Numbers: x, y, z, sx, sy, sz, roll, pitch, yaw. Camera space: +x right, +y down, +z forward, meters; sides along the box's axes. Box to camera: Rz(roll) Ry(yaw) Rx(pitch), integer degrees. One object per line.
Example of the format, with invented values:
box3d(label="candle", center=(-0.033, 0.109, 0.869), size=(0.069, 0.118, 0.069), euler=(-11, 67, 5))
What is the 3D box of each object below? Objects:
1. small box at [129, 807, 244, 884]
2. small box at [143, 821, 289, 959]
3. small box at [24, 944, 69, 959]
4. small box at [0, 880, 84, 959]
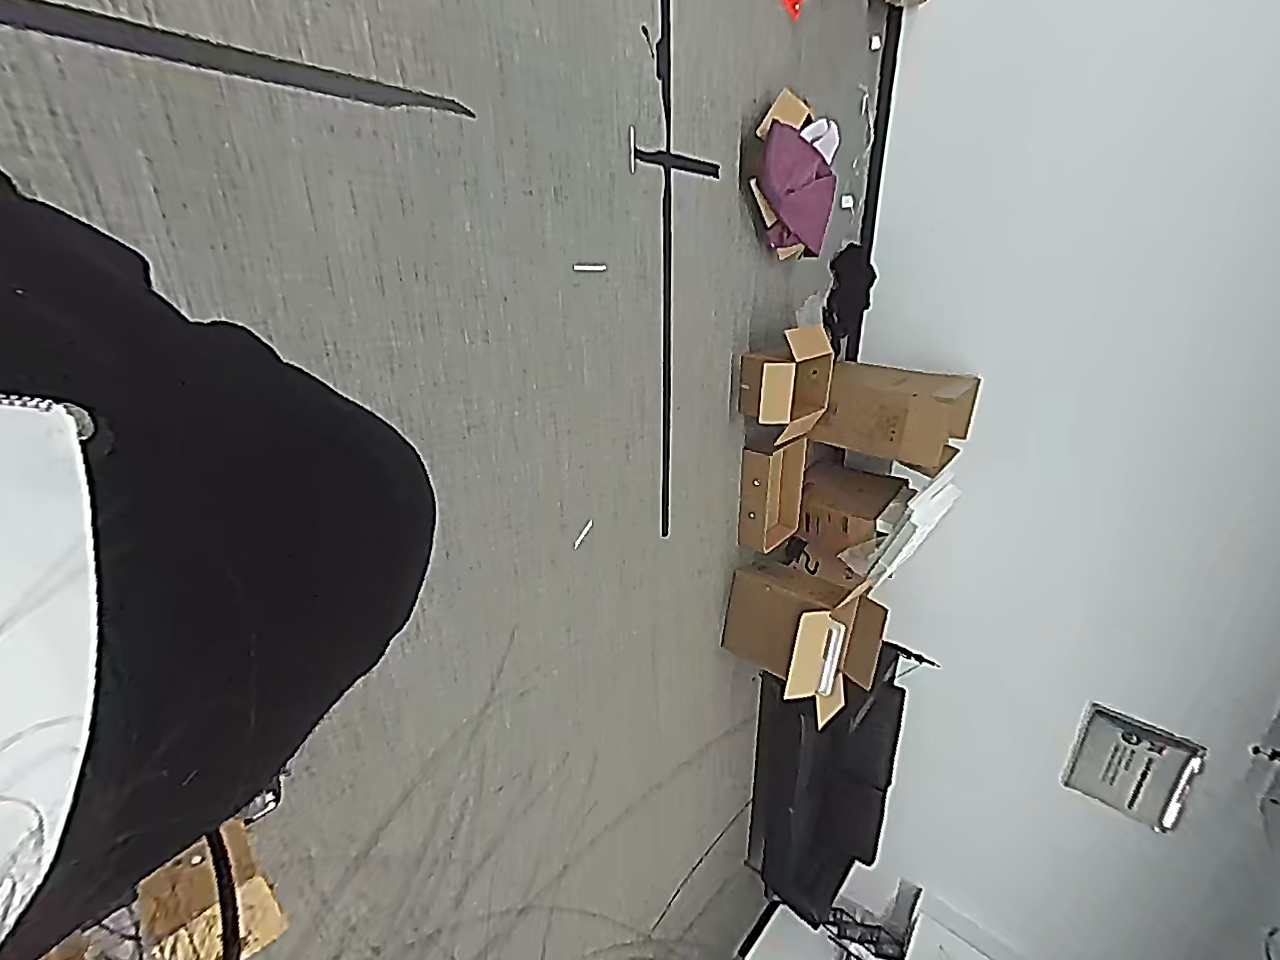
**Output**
box3d(label="small box", center=(-0.942, 0.773, 1.148), size=(0.168, 0.176, 0.179), euler=(-25, 122, -42))
box3d(label="small box", center=(-0.820, 0.817, 1.048), size=(0.168, 0.176, 0.179), euler=(-26, 123, -41))
box3d(label="small box", center=(-1.014, 0.916, 0.864), size=(0.179, 0.176, 0.168), euler=(-21, 120, -45))
box3d(label="small box", center=(-1.133, 0.860, 0.961), size=(0.179, 0.176, 0.168), euler=(-22, 120, -44))
